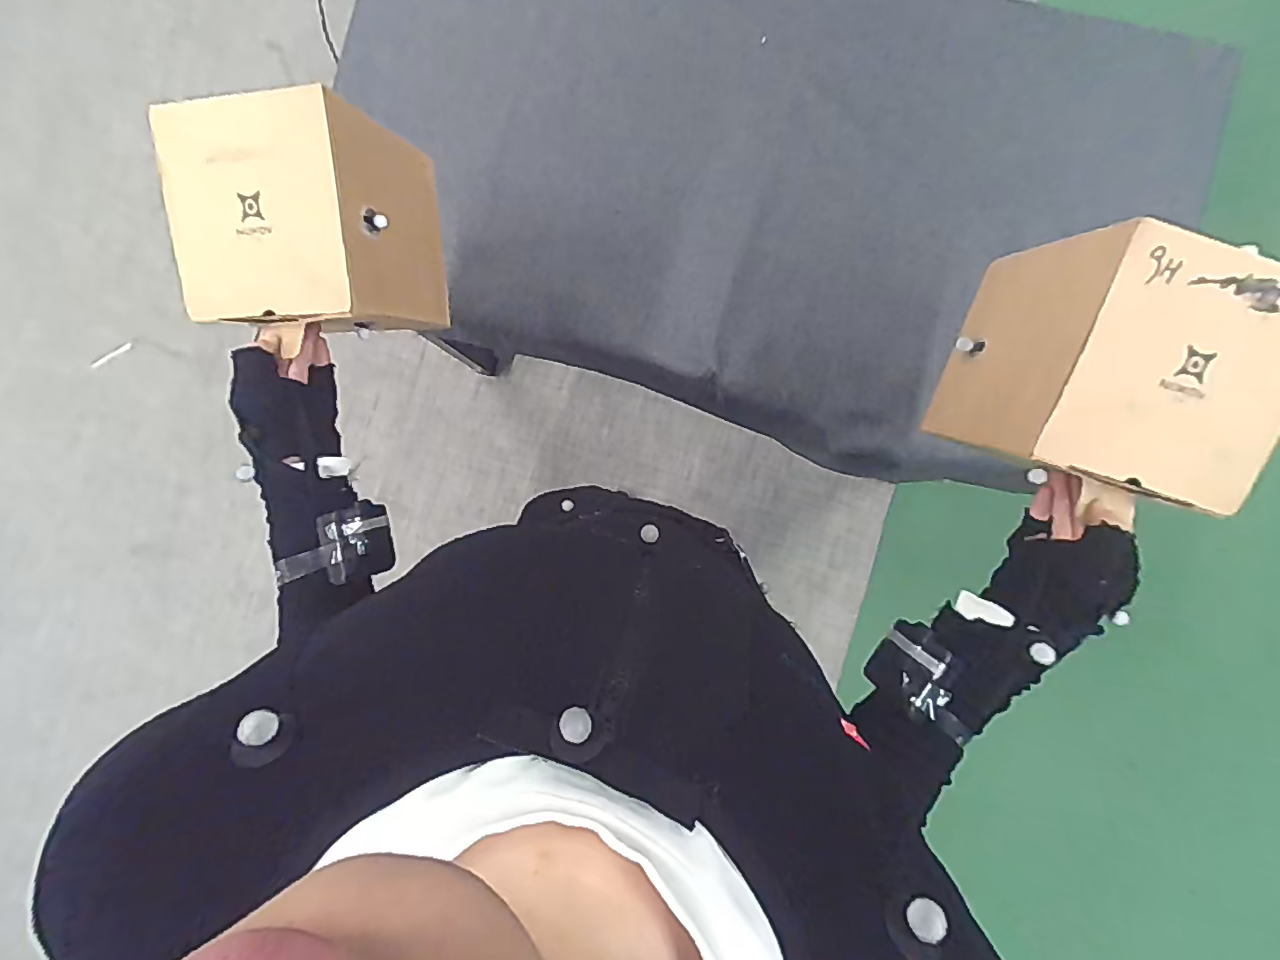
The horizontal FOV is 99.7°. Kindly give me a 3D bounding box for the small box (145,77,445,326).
[{"bbox_3d":[-0.307,-0.243,0.522,0.168,0.176,0.179,0,102,9],"label":"small box"}]

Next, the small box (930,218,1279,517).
[{"bbox_3d":[0.389,-0.093,0.467,0.168,0.176,0.179,17,103,-4],"label":"small box"}]
